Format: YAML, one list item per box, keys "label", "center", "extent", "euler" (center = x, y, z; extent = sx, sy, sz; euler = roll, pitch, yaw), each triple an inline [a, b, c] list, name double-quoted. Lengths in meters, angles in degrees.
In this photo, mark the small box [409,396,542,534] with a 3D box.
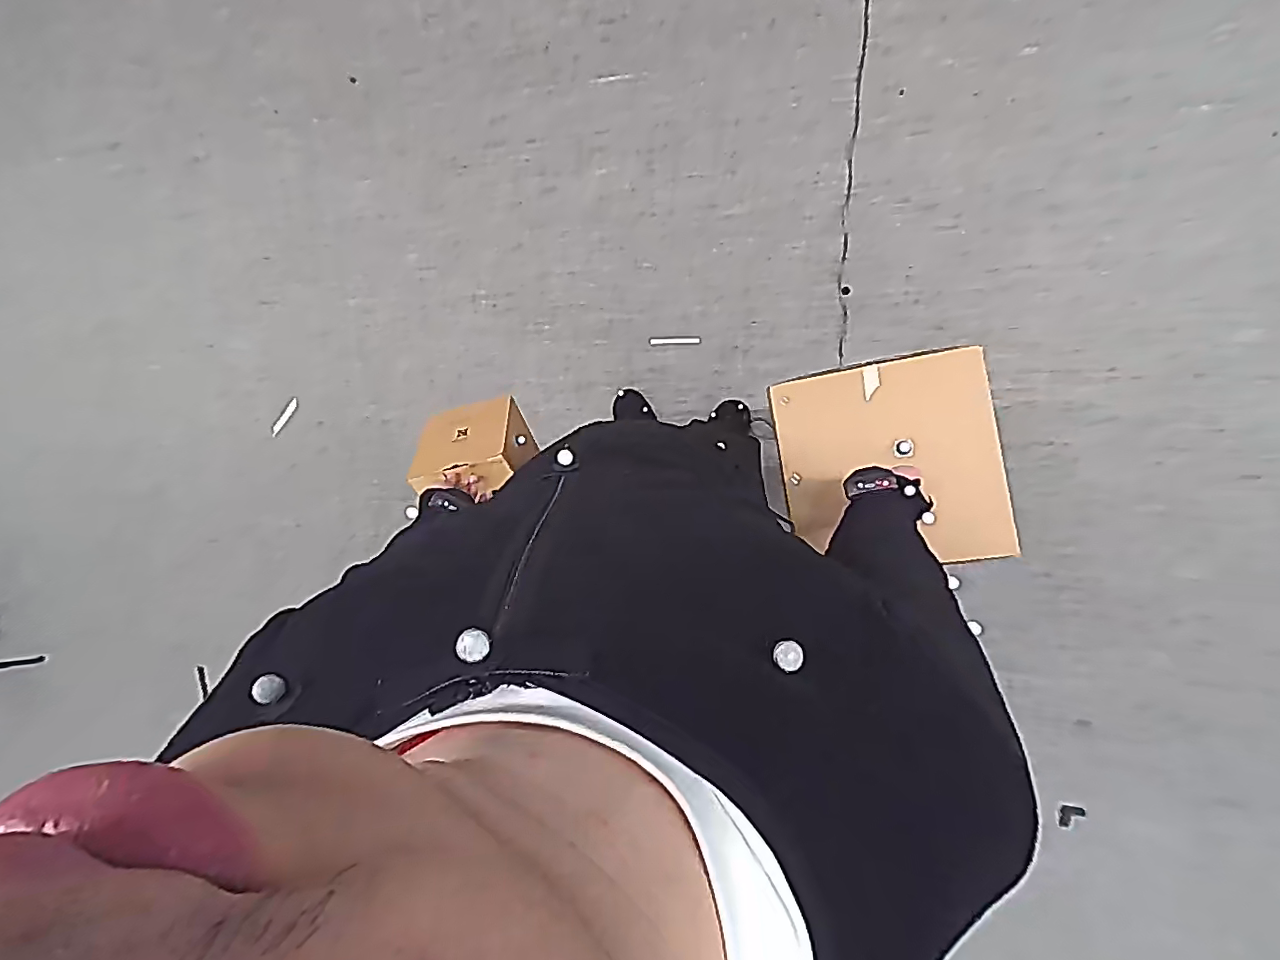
- label: "small box"
  center: [-0.285, -0.020, 0.983]
  extent: [0.168, 0.179, 0.176]
  euler: [-14, 132, 5]
